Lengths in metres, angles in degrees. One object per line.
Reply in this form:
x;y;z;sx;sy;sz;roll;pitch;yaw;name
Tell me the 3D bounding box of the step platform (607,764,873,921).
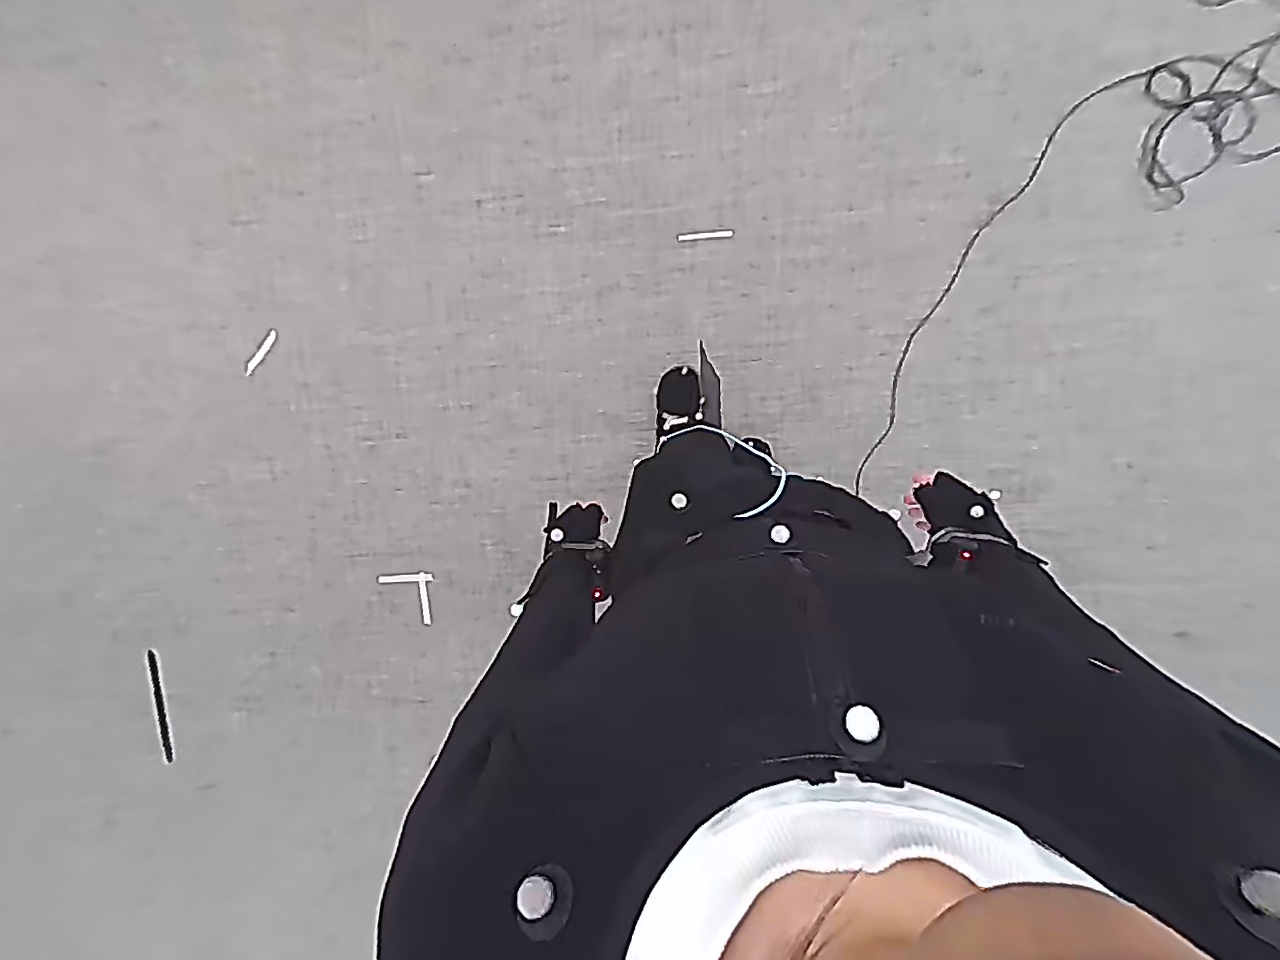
0.252;0.957;1.447;0.684;0.204;0.286;-3;95;10;step platform
